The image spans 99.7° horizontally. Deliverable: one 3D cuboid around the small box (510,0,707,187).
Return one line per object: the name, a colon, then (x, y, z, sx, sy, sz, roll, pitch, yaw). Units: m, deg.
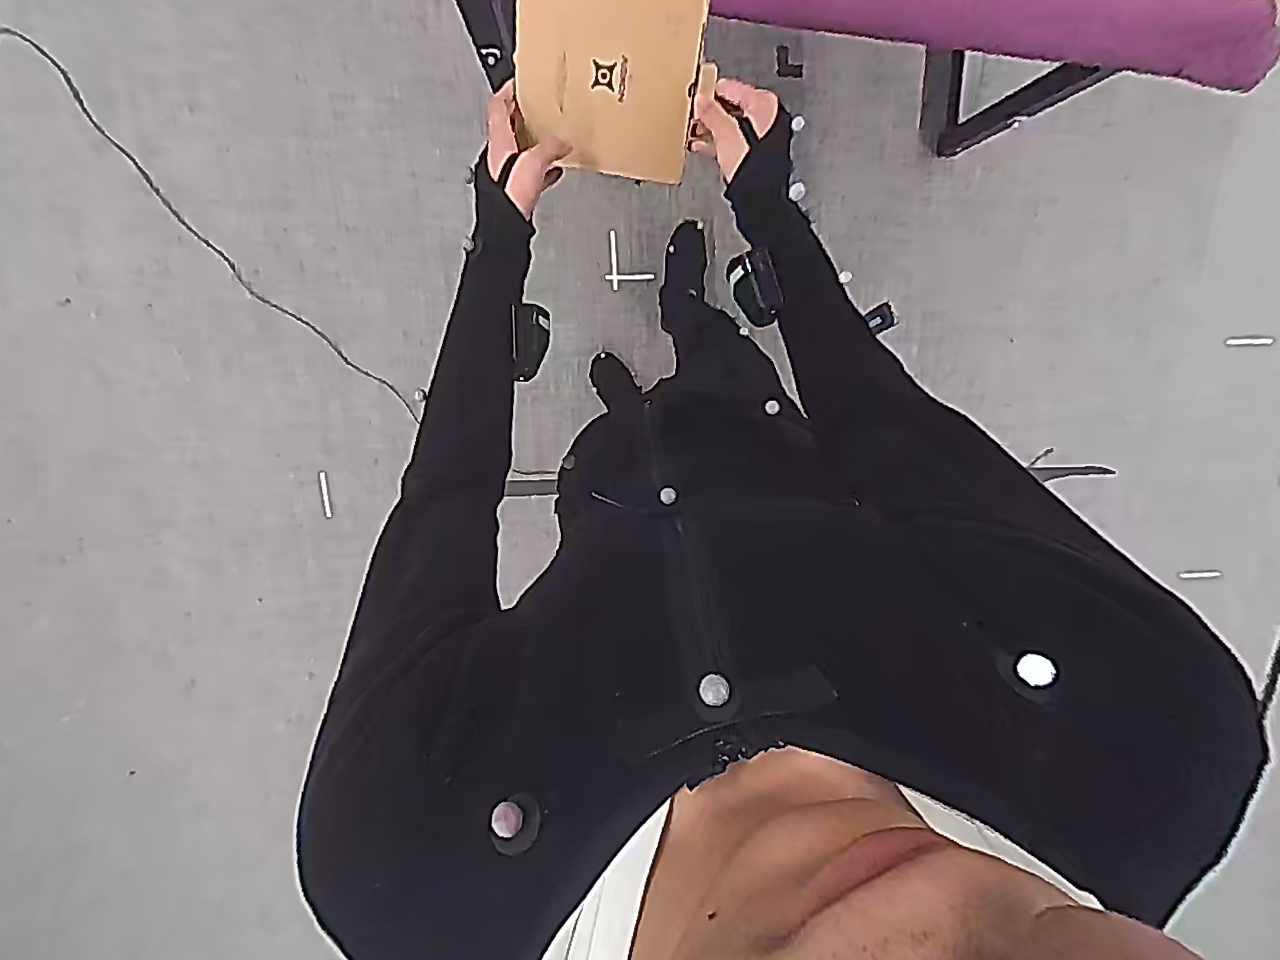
small box: (-0.041, -0.425, 0.585, 0.179, 0.176, 0.168, 4, 119, -8)
